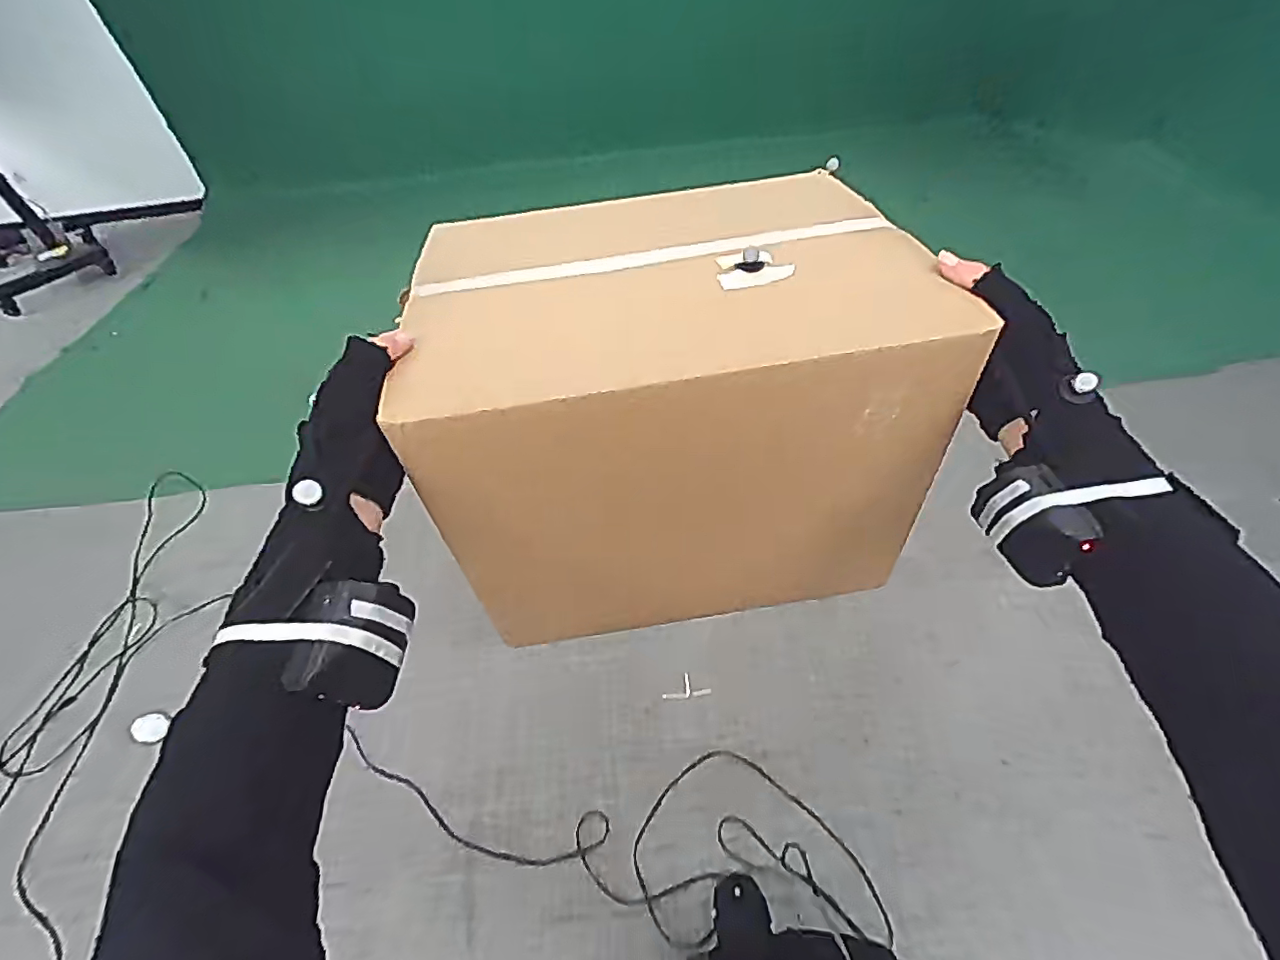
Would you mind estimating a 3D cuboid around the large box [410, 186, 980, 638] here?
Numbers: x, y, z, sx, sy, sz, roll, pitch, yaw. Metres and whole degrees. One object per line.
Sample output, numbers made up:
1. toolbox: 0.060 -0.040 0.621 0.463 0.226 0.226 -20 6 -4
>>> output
1. large box: 0.029 -0.072 0.570 0.408 0.320 0.320 -9 47 -3
